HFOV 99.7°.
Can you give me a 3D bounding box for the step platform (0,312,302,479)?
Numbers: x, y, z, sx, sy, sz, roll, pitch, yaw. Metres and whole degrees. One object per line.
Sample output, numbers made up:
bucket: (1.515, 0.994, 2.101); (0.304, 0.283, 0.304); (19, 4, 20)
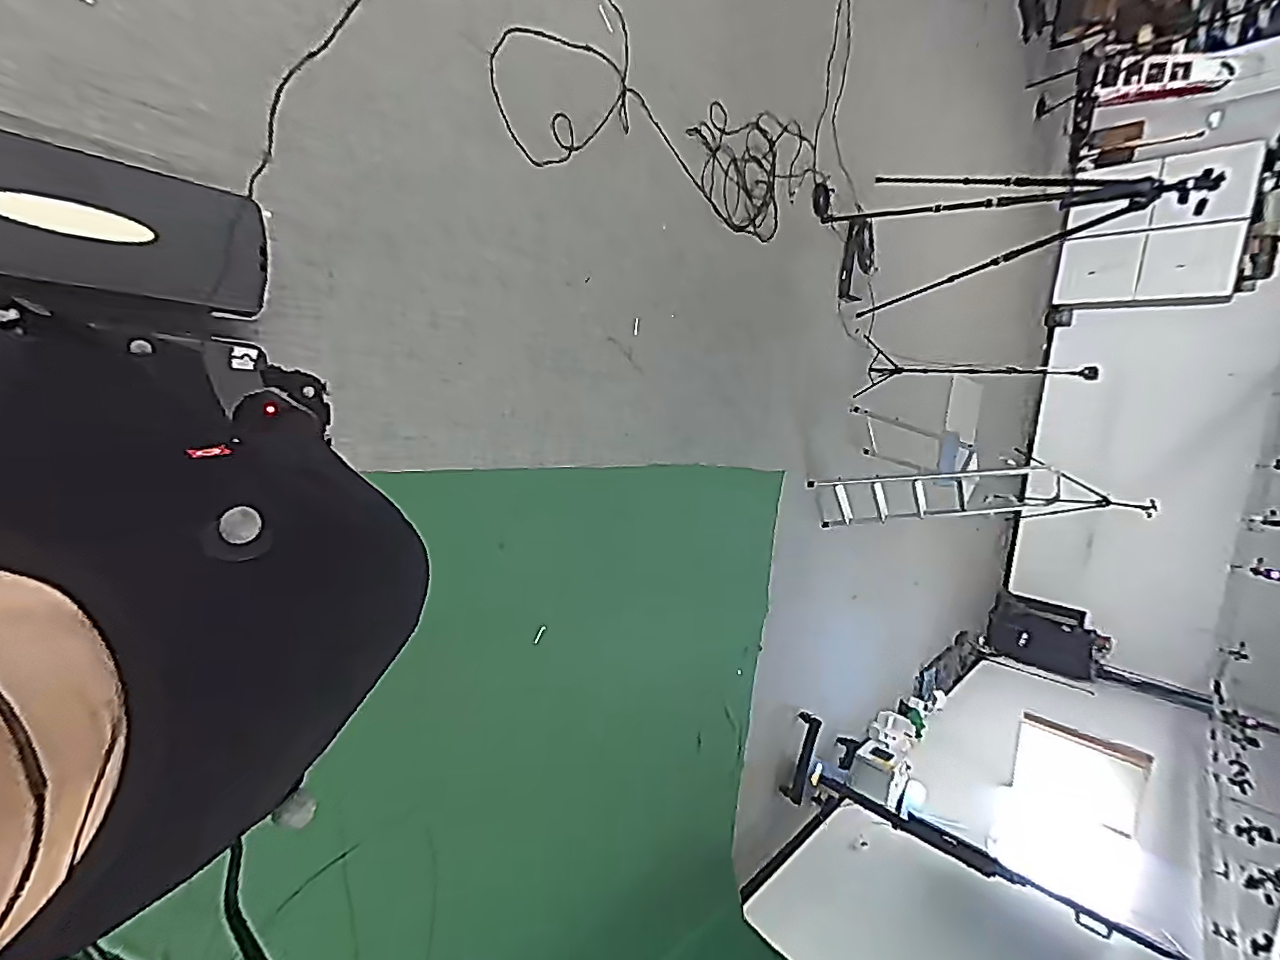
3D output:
step platform: (-1.026, -0.148, 0.975); (0.684, 0.204, 0.286); (-2, 101, -46)
